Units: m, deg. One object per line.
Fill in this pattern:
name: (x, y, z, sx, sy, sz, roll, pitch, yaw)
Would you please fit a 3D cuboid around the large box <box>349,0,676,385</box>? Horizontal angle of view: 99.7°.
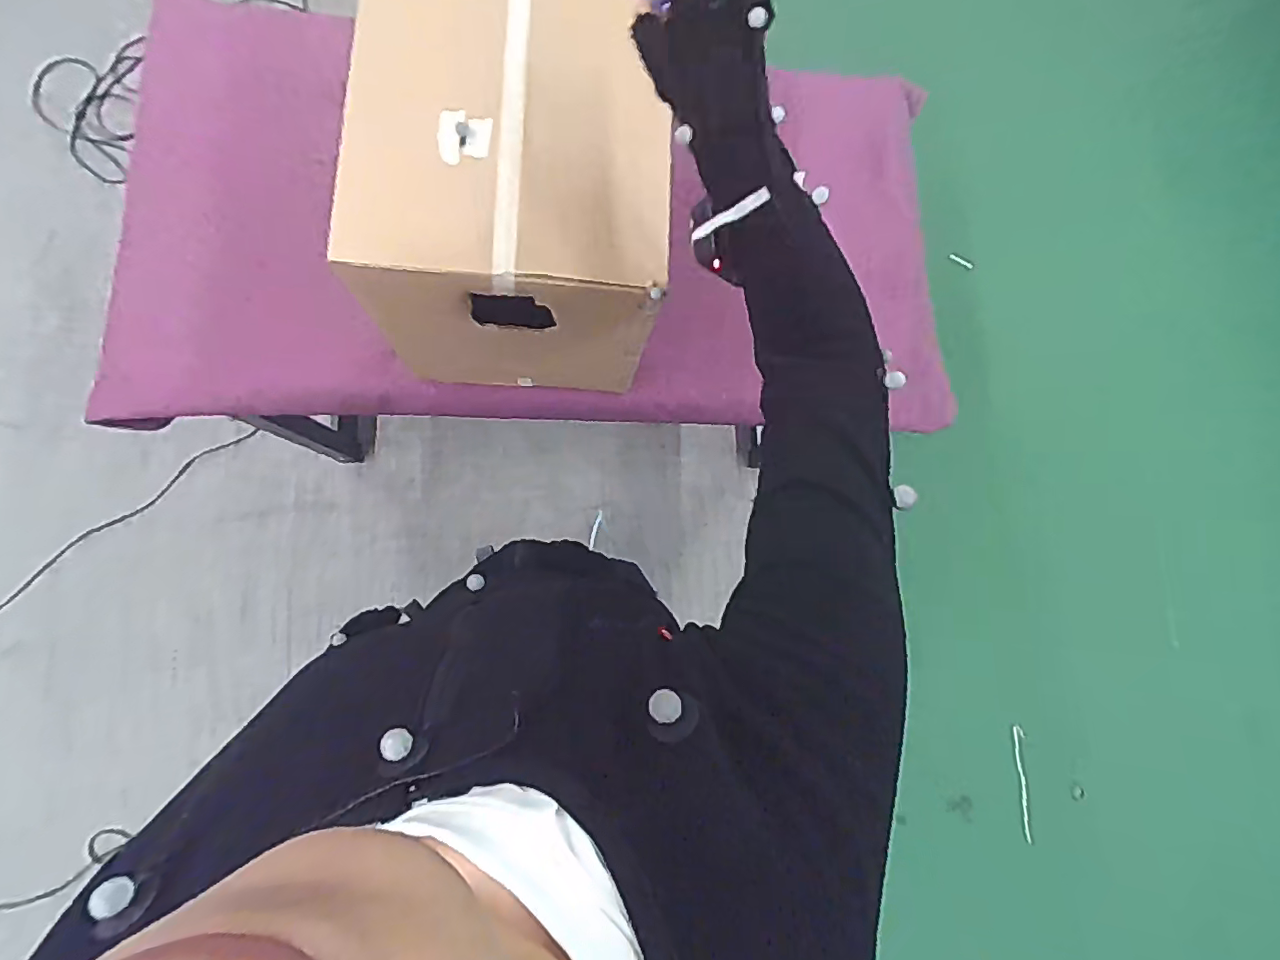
large box: (-0.139, -0.369, 0.696, 0.320, 0.320, 0.408, 3, 82, -8)
